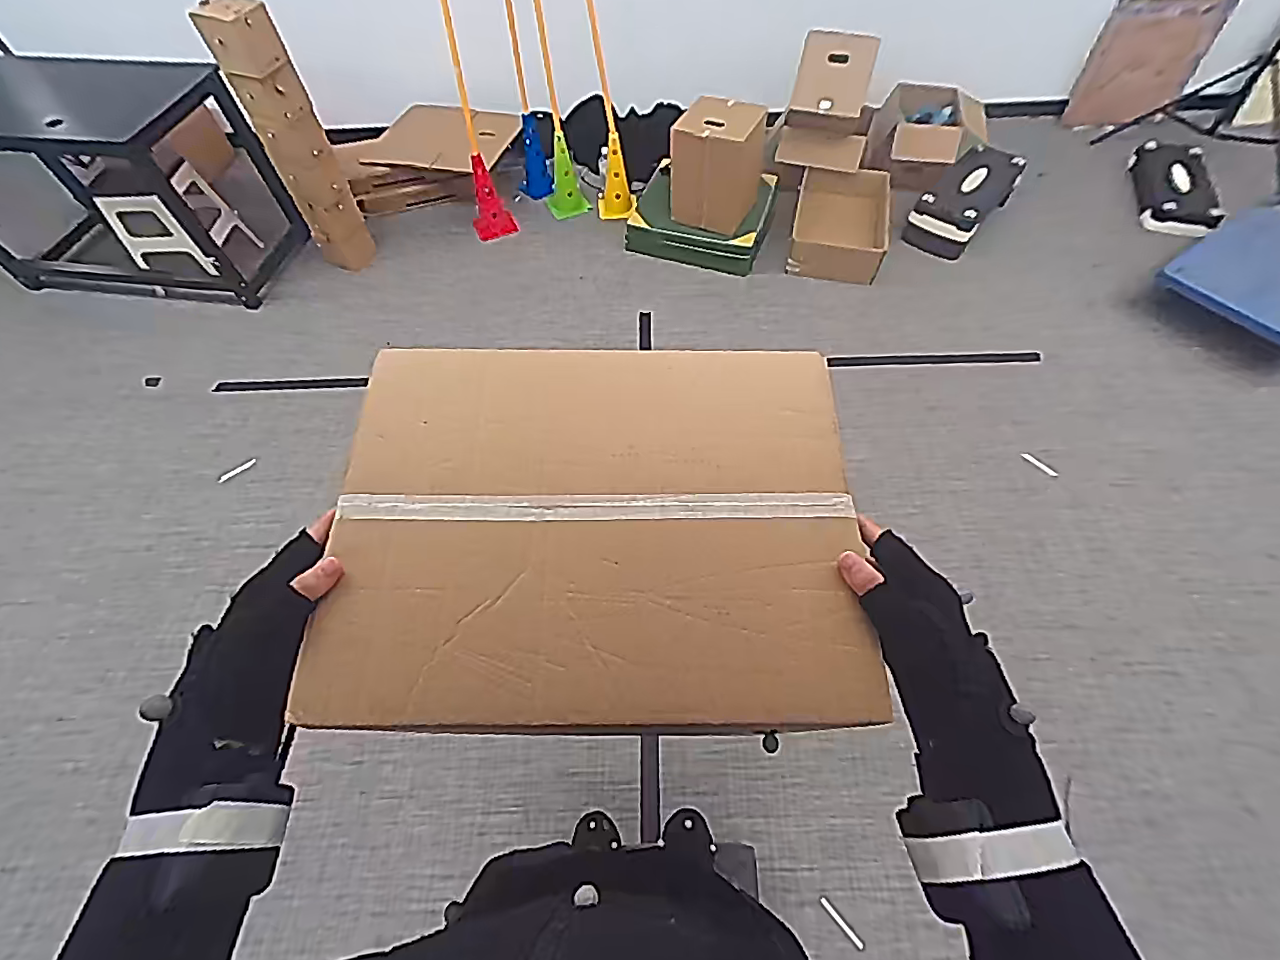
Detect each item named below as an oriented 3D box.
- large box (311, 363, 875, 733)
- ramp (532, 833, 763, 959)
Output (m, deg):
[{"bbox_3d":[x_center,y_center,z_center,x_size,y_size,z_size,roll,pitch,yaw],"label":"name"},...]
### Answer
[{"bbox_3d":[-0.033,0.095,0.574,0.408,0.320,0.320,0,64,-1],"label":"large box"},{"bbox_3d":[0.022,1.264,1.037,0.509,0.206,0.991,-2,59,-1],"label":"ramp"}]
